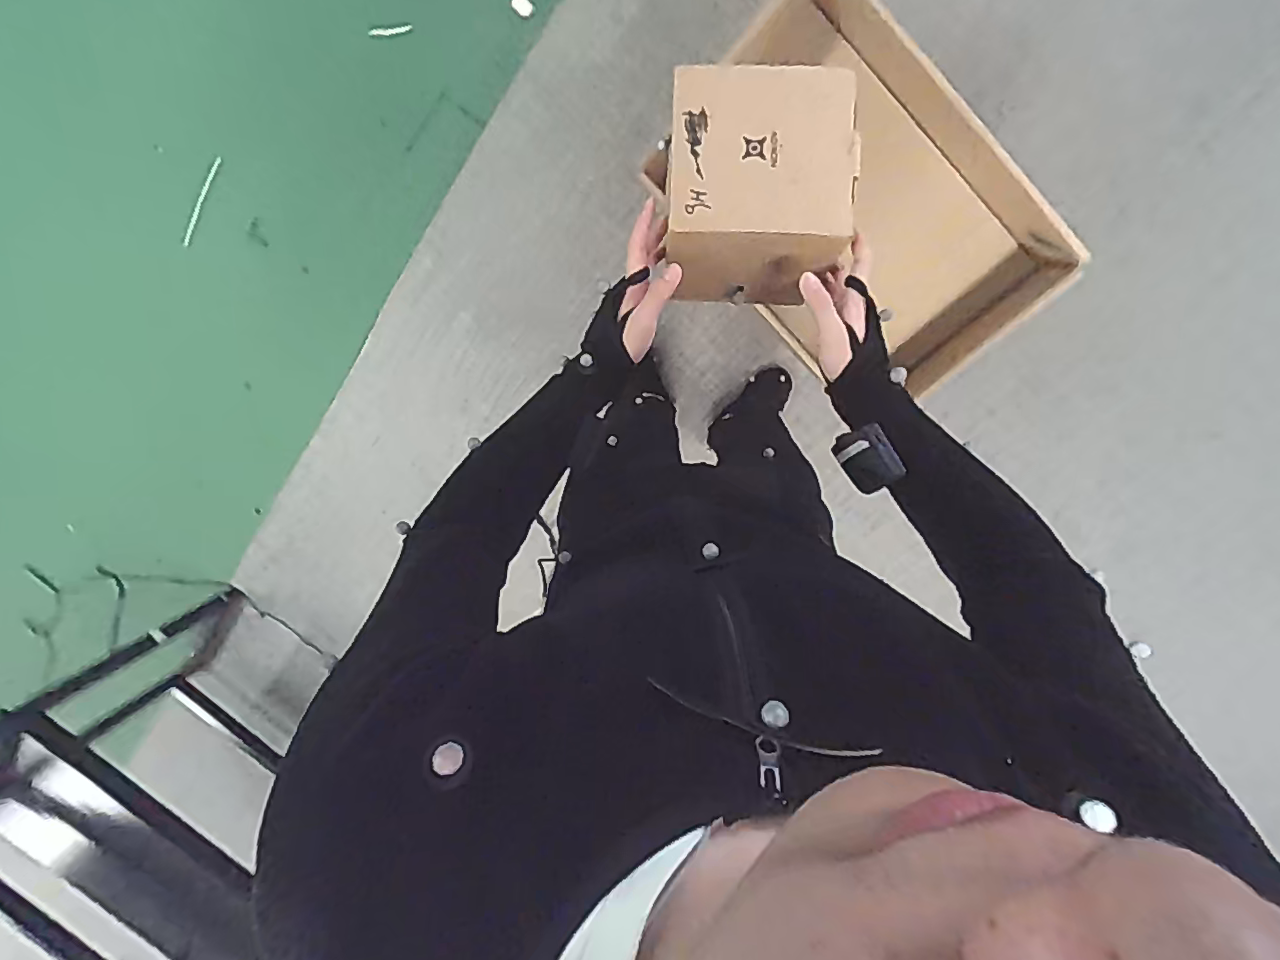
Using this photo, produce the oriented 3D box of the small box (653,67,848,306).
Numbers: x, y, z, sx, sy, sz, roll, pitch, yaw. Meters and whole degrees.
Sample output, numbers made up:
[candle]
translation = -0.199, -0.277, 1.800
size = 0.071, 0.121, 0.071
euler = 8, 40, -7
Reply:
[small box]
translation = 0.107, -0.300, 0.587
size = 0.179, 0.176, 0.168
euler = 2, 85, 0
